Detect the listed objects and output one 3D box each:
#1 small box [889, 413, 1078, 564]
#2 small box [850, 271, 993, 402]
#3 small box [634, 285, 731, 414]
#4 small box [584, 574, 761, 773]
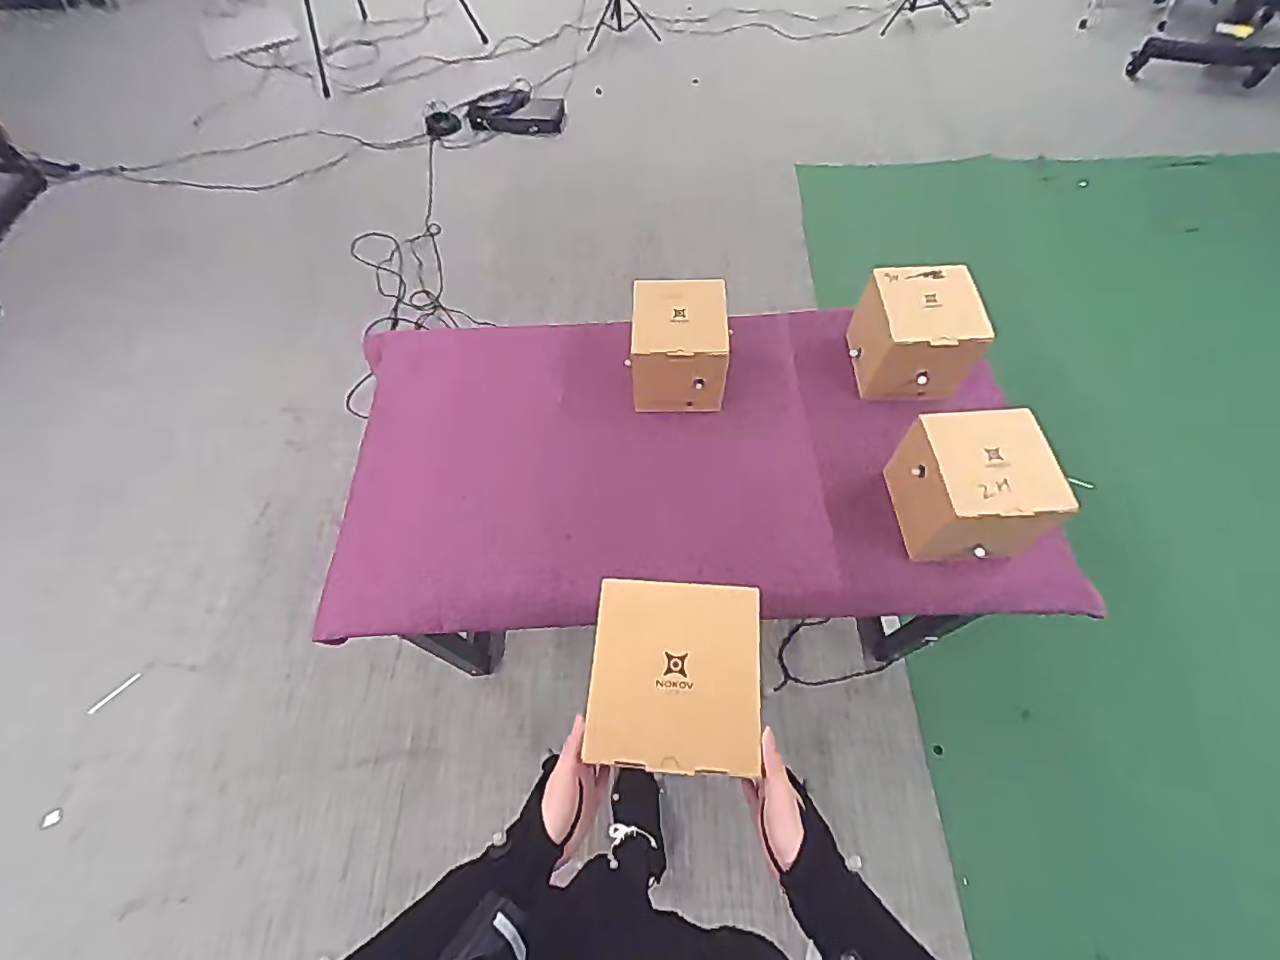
[{"bbox_3d":[0.511,0.018,0.839,0.168,0.176,0.179,-3,60,3],"label":"small box"},{"bbox_3d":[0.503,-0.256,0.996,0.168,0.176,0.179,-1,63,2],"label":"small box"},{"bbox_3d":[0.078,-0.238,1.009,0.168,0.176,0.179,1,61,2],"label":"small box"},{"bbox_3d":[0.041,0.218,0.601,0.168,0.176,0.179,3,64,6],"label":"small box"}]
